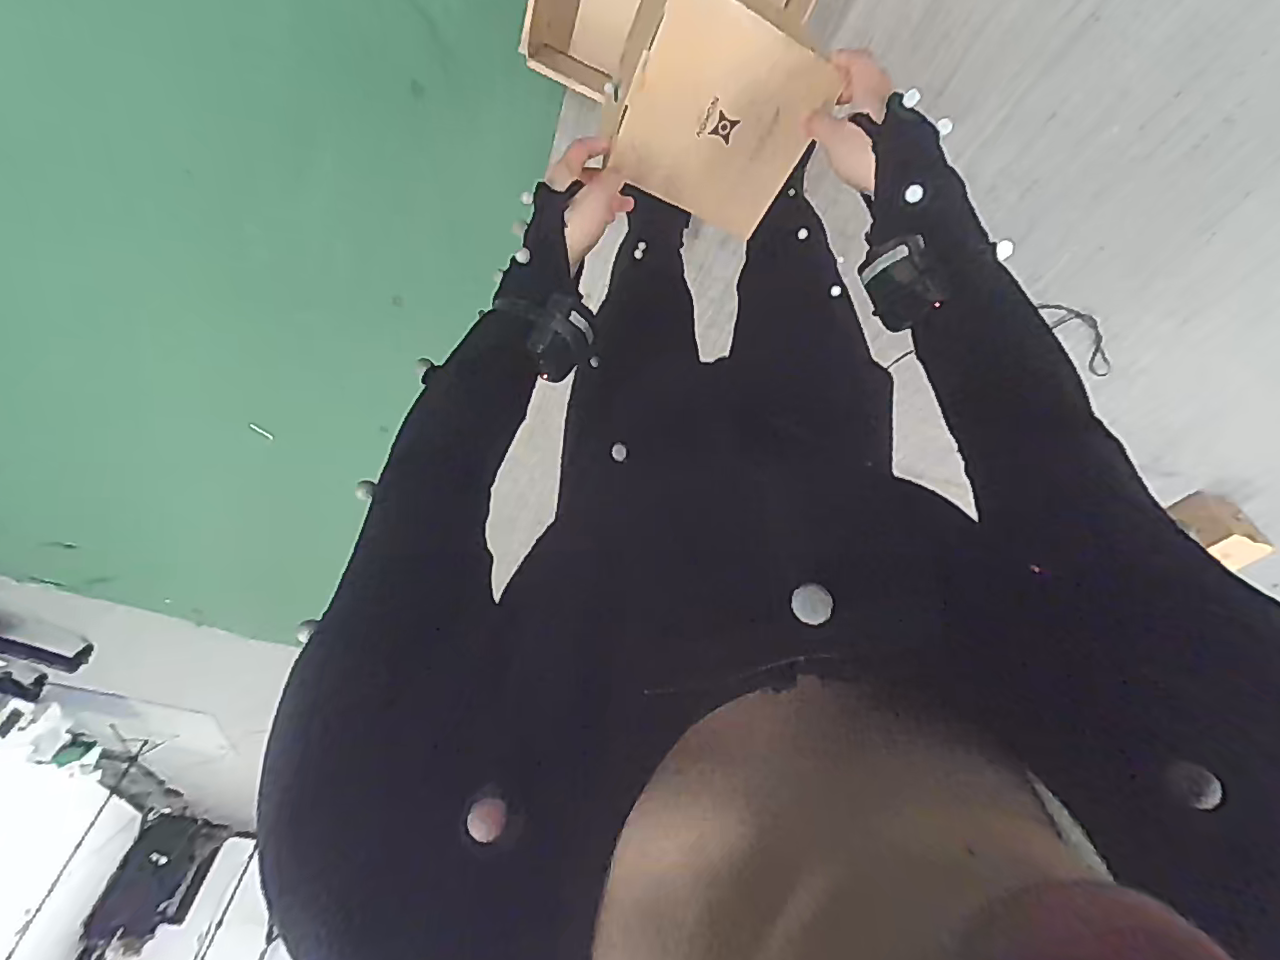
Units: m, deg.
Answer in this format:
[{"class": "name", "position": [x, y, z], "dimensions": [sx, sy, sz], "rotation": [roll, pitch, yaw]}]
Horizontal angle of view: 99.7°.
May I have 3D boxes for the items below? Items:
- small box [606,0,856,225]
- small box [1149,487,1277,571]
[{"class": "small box", "position": [0.073, -0.402, 0.545], "dimensions": [0.179, 0.176, 0.168], "rotation": [13, 140, -21]}, {"class": "small box", "position": [1.746, 0.148, 1.662], "dimensions": [0.168, 0.176, 0.179], "rotation": [17, 135, -10]}]
